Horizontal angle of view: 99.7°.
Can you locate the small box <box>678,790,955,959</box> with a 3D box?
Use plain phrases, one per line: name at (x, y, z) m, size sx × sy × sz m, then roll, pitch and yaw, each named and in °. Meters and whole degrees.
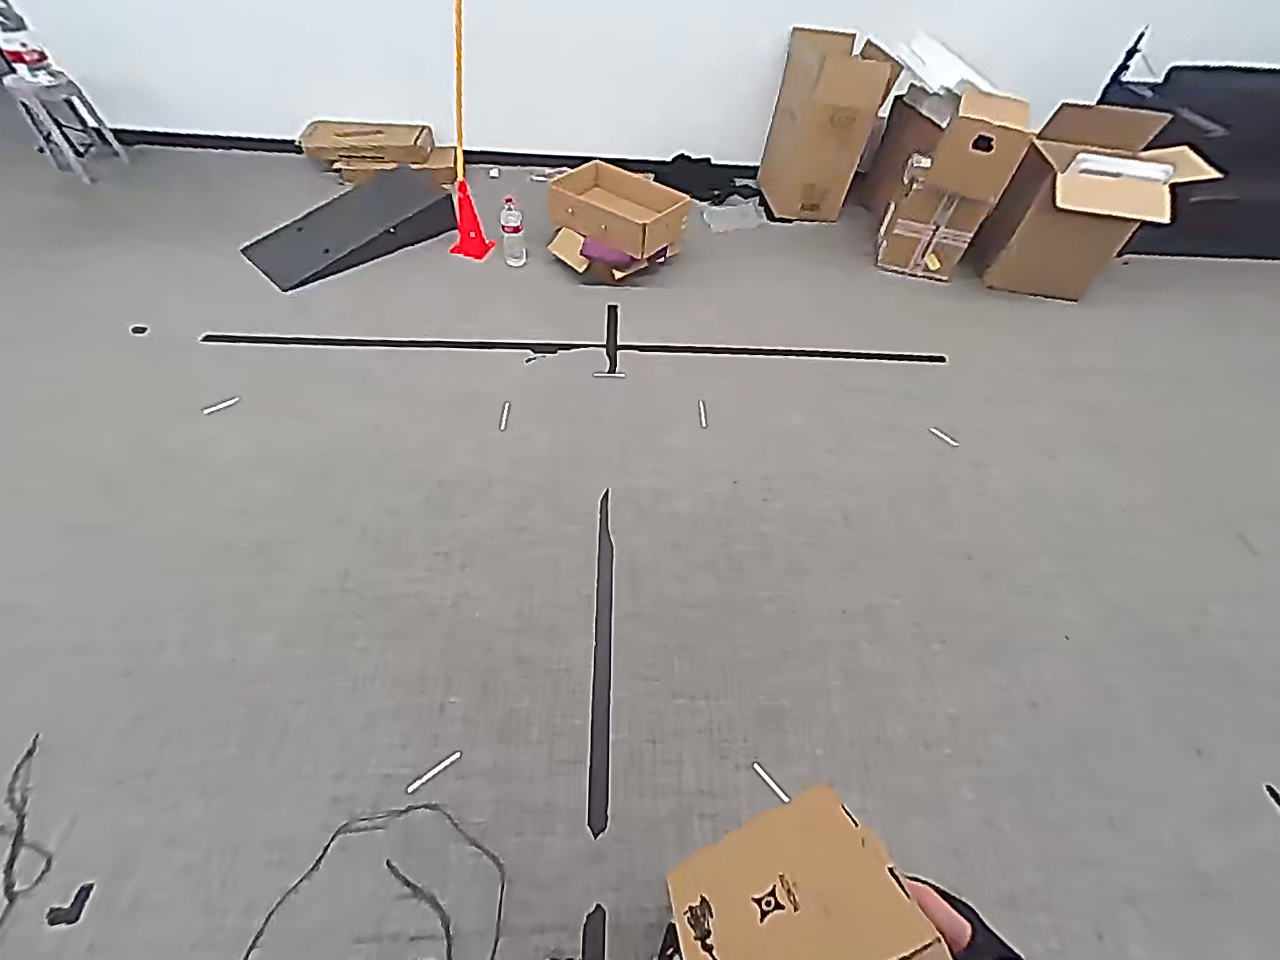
small box at (0.155, 0.415, 0.449) m, size 0.179 × 0.168 × 0.176 m, roll -26°, pitch 95°, yaw -5°
